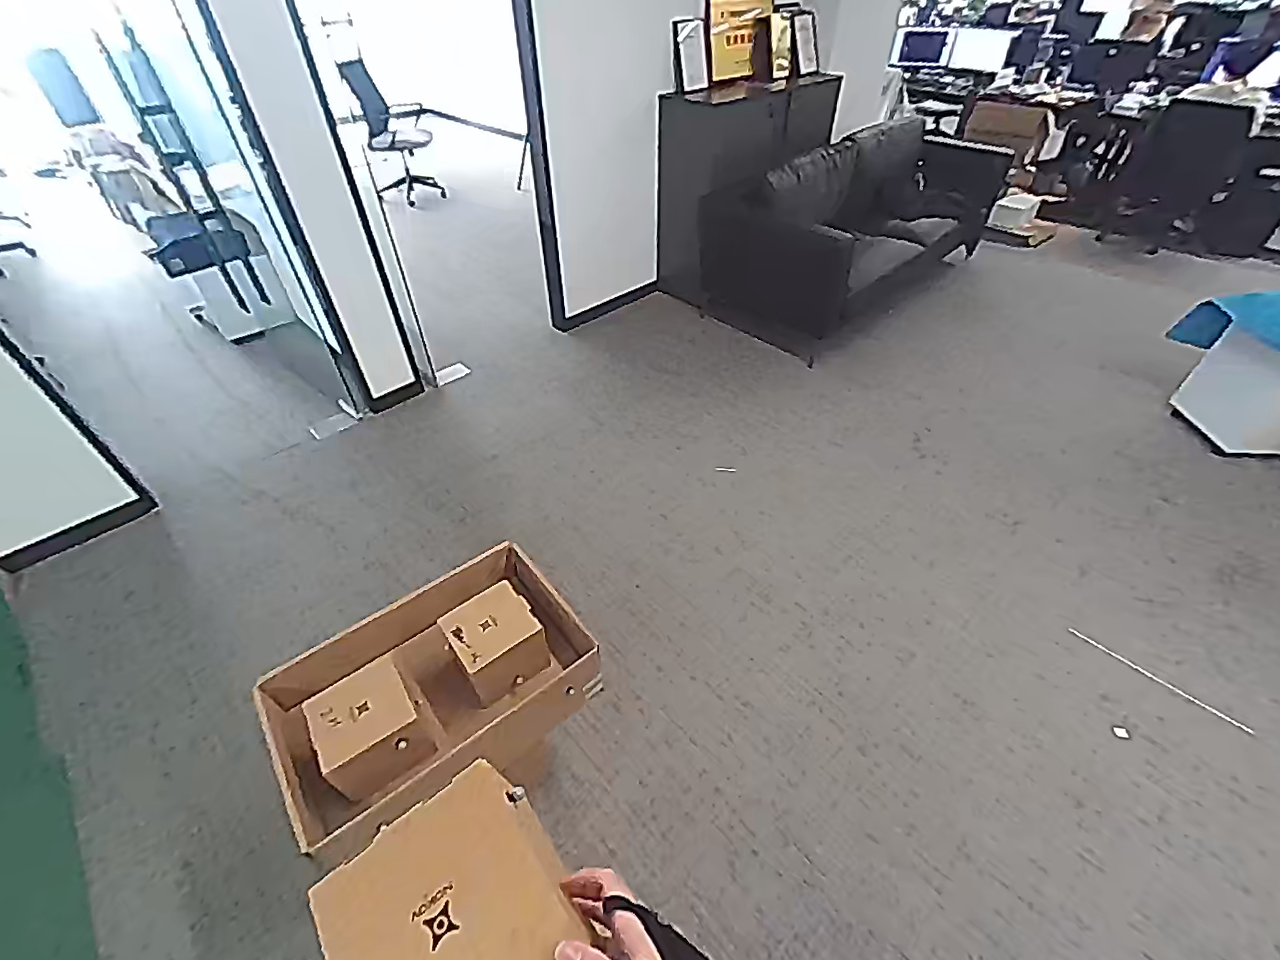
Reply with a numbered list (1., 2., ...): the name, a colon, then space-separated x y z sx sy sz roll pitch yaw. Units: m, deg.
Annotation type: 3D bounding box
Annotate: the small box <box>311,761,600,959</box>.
1. small box: -0.154 0.402 0.492 0.168 0.176 0.179 -33 52 -21
